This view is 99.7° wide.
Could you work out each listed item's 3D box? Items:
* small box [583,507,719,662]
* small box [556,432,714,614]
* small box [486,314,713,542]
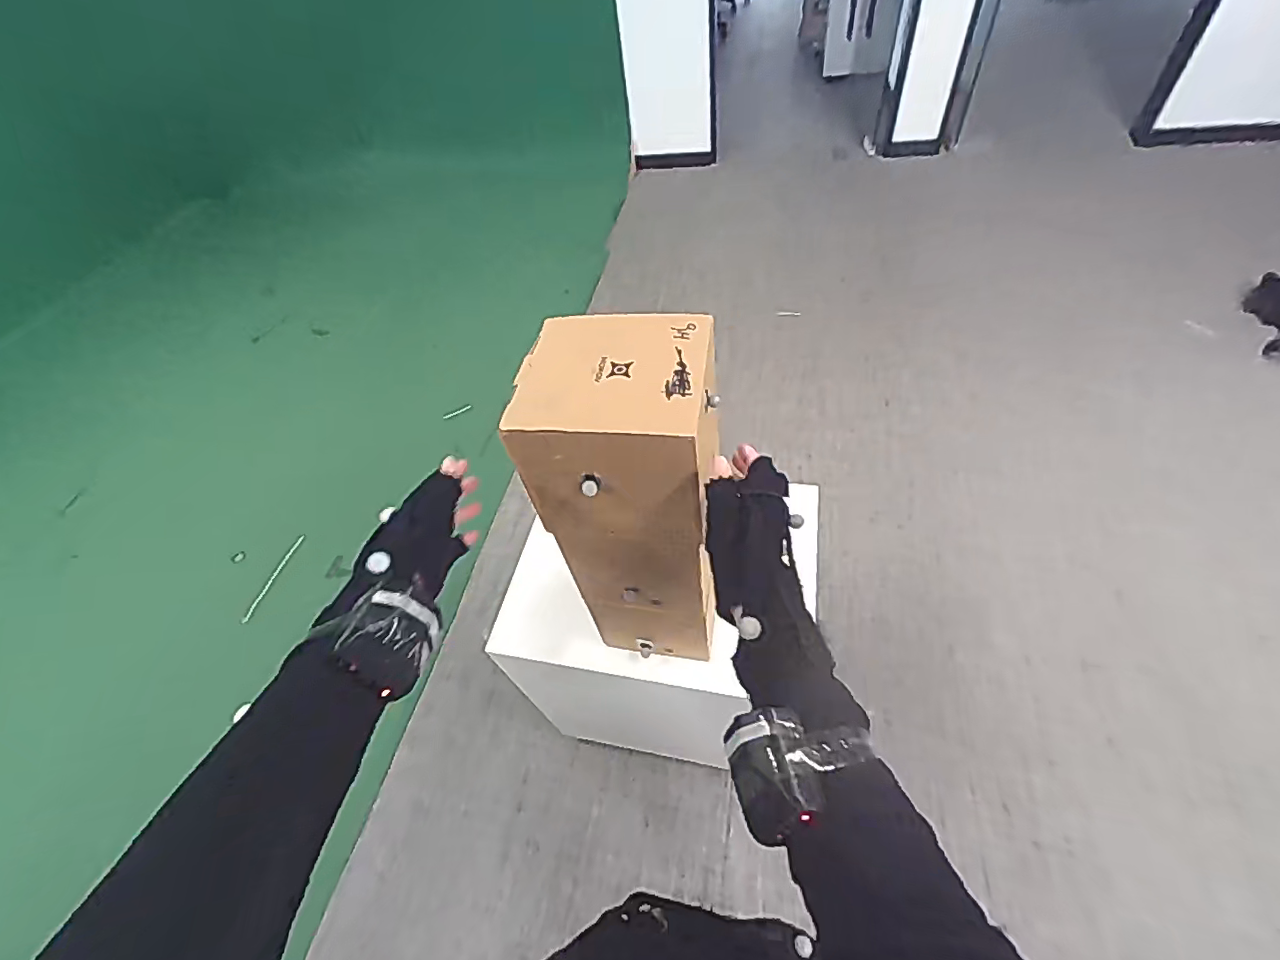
[{"bbox_3d":[0.029,0.151,0.810,0.168,0.176,0.179,3,54,13],"label":"small box"},{"bbox_3d":[0.006,0.047,0.685,0.168,0.176,0.179,2,51,12],"label":"small box"},{"bbox_3d":[-0.024,-0.049,0.555,0.179,0.176,0.168,2,52,13],"label":"small box"}]
